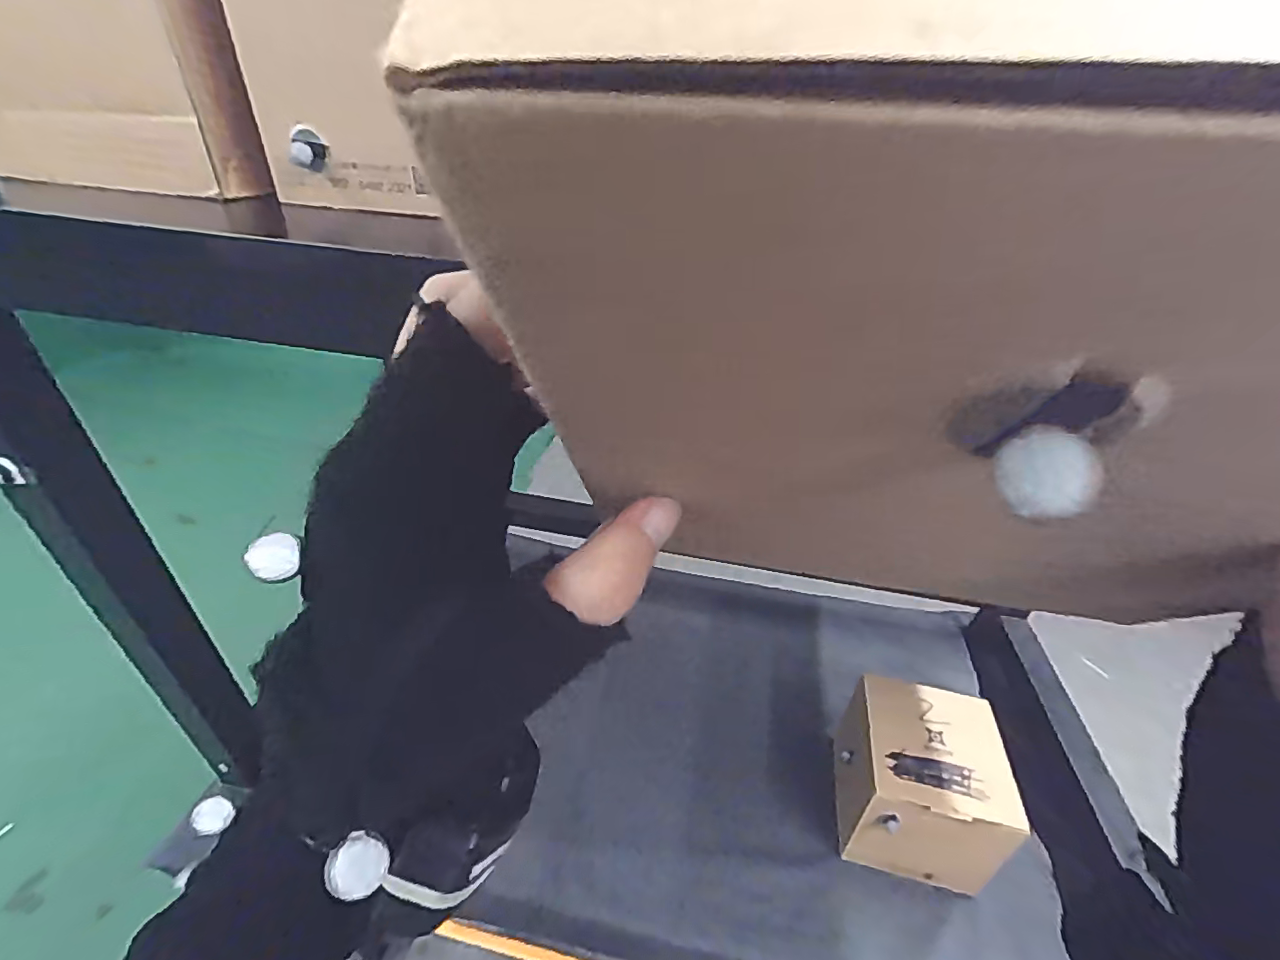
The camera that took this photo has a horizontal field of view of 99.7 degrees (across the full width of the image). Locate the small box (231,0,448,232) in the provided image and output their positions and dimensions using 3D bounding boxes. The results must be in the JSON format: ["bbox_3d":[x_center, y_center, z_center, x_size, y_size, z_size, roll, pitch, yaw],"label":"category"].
[{"bbox_3d":[-0.134,-0.273,0.369,0.168,0.176,0.179,8,33,6],"label":"small box"}]

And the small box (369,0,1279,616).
[{"bbox_3d":[0.076,-0.065,0.145,0.179,0.176,0.168,8,71,8],"label":"small box"}]
